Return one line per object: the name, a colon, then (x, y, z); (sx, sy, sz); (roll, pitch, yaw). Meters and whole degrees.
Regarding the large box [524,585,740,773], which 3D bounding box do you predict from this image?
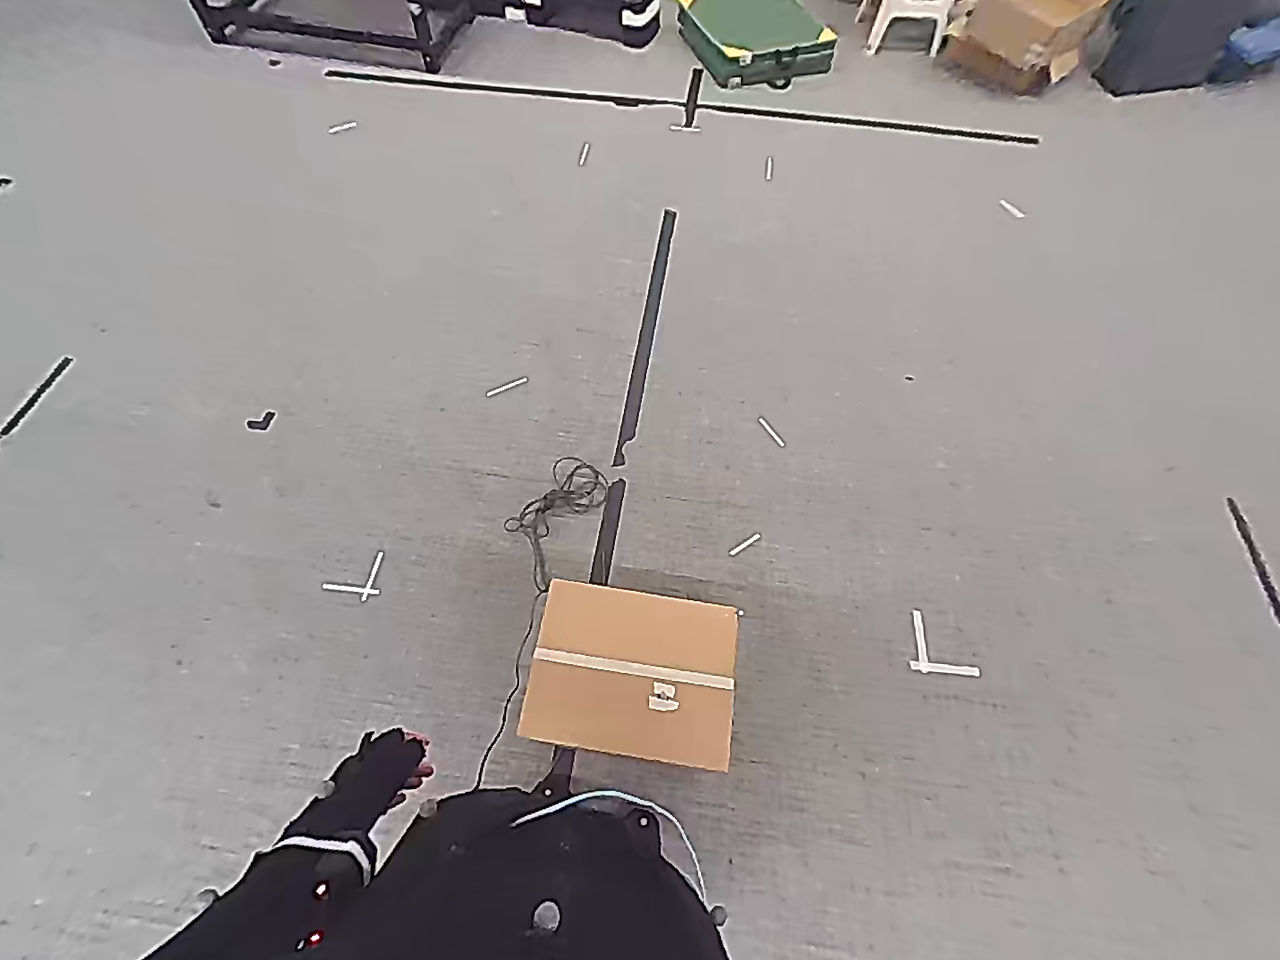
large box: (-0.015, 0.457, 1.216); (0.408, 0.320, 0.320); (10, 63, 1)
